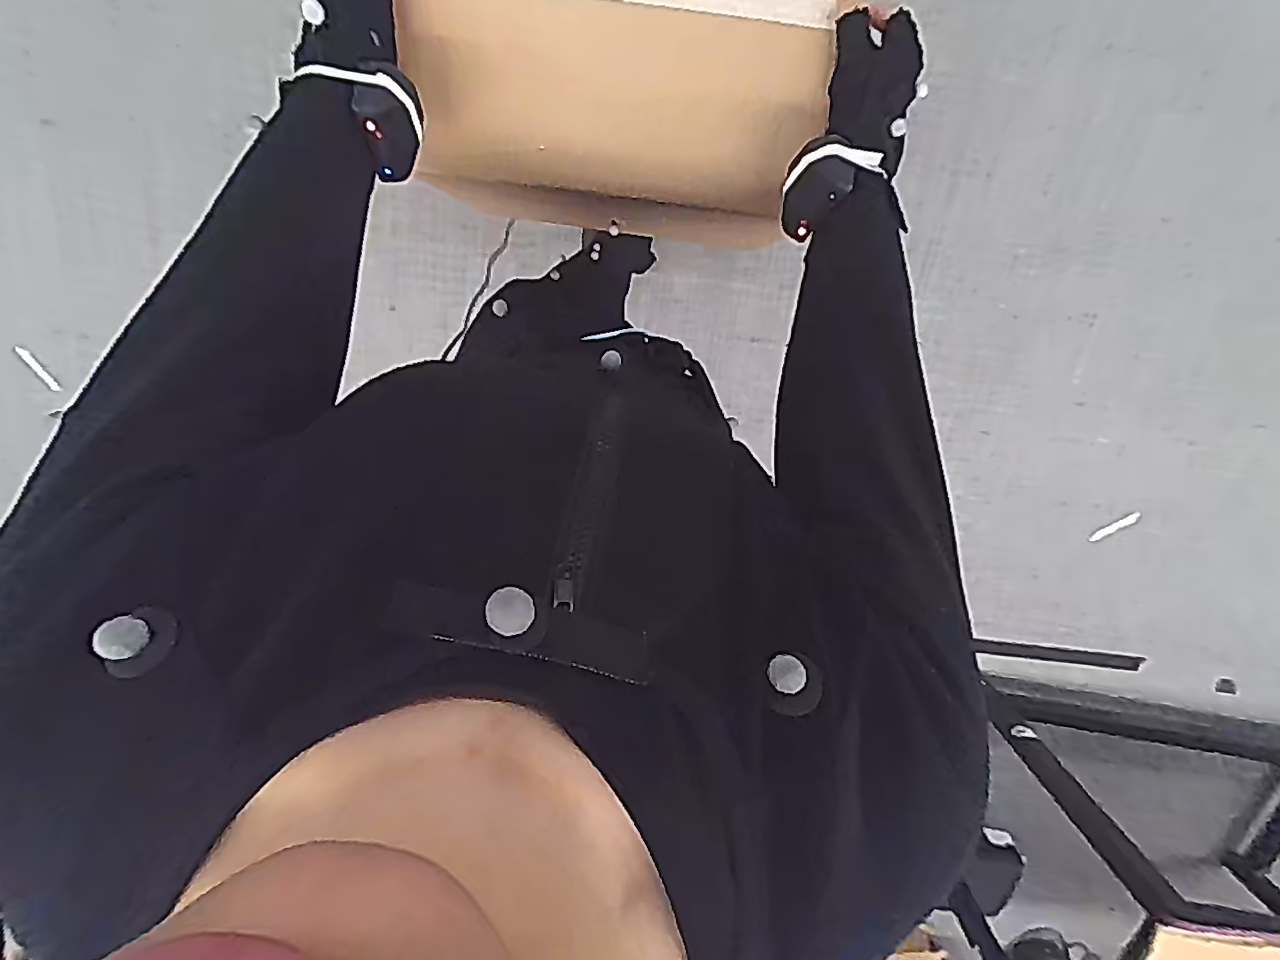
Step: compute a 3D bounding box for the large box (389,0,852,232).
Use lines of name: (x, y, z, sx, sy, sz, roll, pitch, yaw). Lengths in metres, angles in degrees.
large box: (-0.009, -0.476, 0.600, 0.408, 0.320, 0.320, 8, 108, -1)
